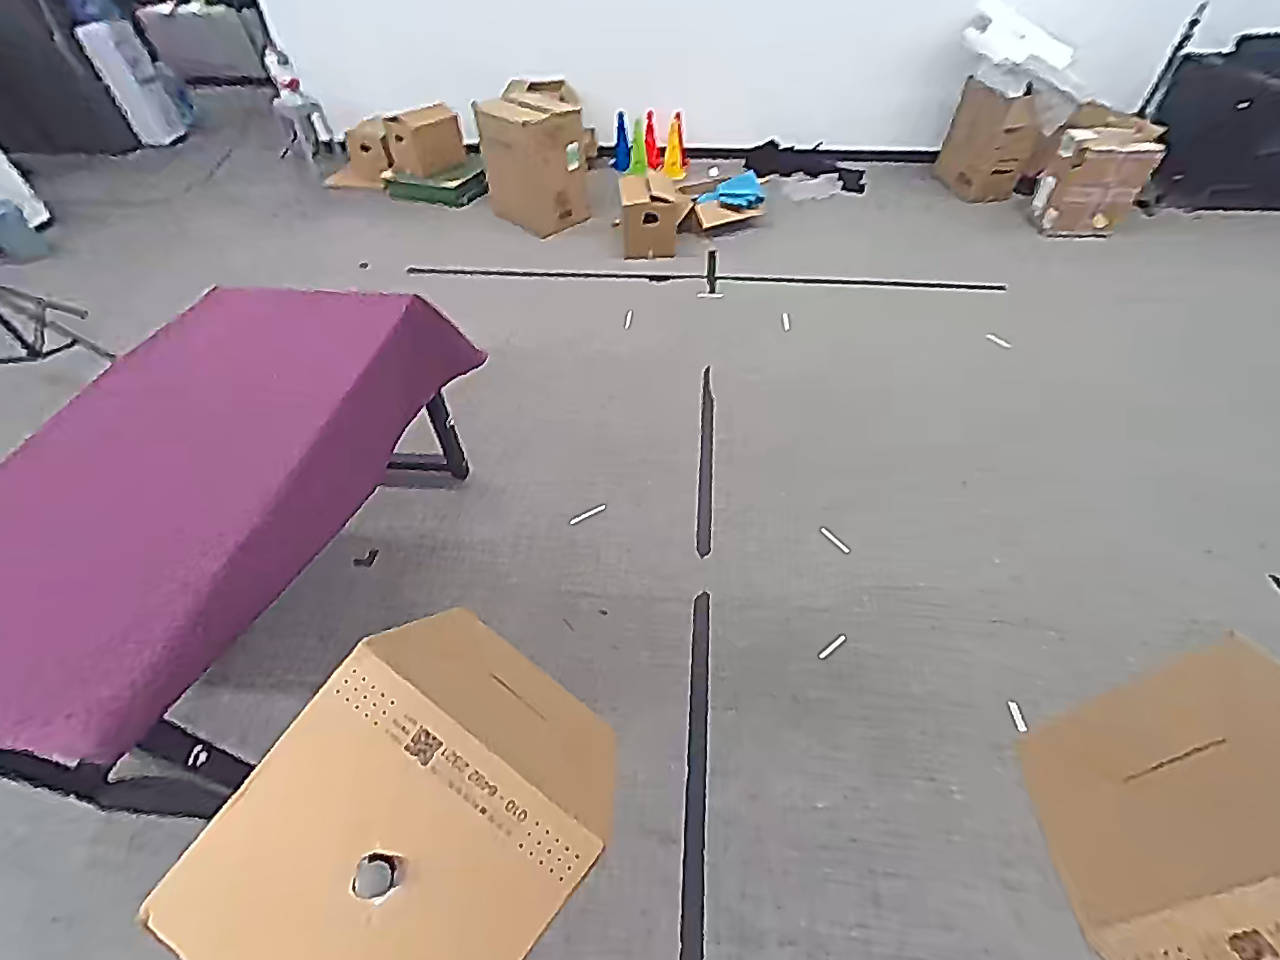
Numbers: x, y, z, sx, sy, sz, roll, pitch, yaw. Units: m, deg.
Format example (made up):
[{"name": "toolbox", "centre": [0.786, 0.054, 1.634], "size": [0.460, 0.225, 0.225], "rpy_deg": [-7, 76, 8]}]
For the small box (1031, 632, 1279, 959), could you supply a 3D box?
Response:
[{"name": "small box", "centre": [0.363, 0.219, 0.298], "size": [0.176, 0.168, 0.179], "rpy_deg": [50, 25, 8]}]
